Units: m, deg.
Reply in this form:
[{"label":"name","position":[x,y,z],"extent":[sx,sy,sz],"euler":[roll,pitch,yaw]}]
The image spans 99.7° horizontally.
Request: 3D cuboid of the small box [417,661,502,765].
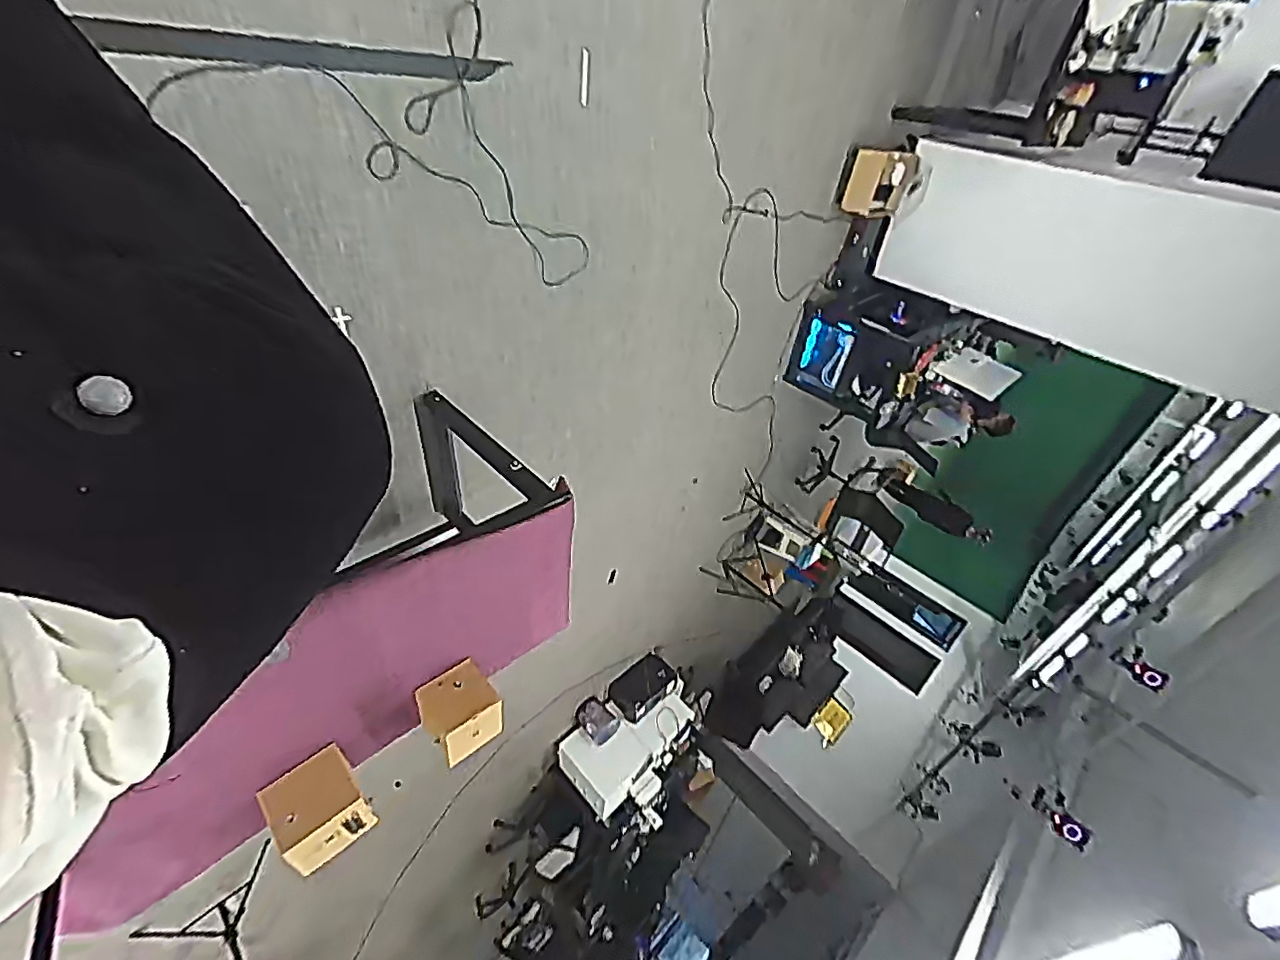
[{"label":"small box","position":[-0.504,0.647,1.519],"extent":[0.168,0.176,0.179],"euler":[-26,139,-37]}]
